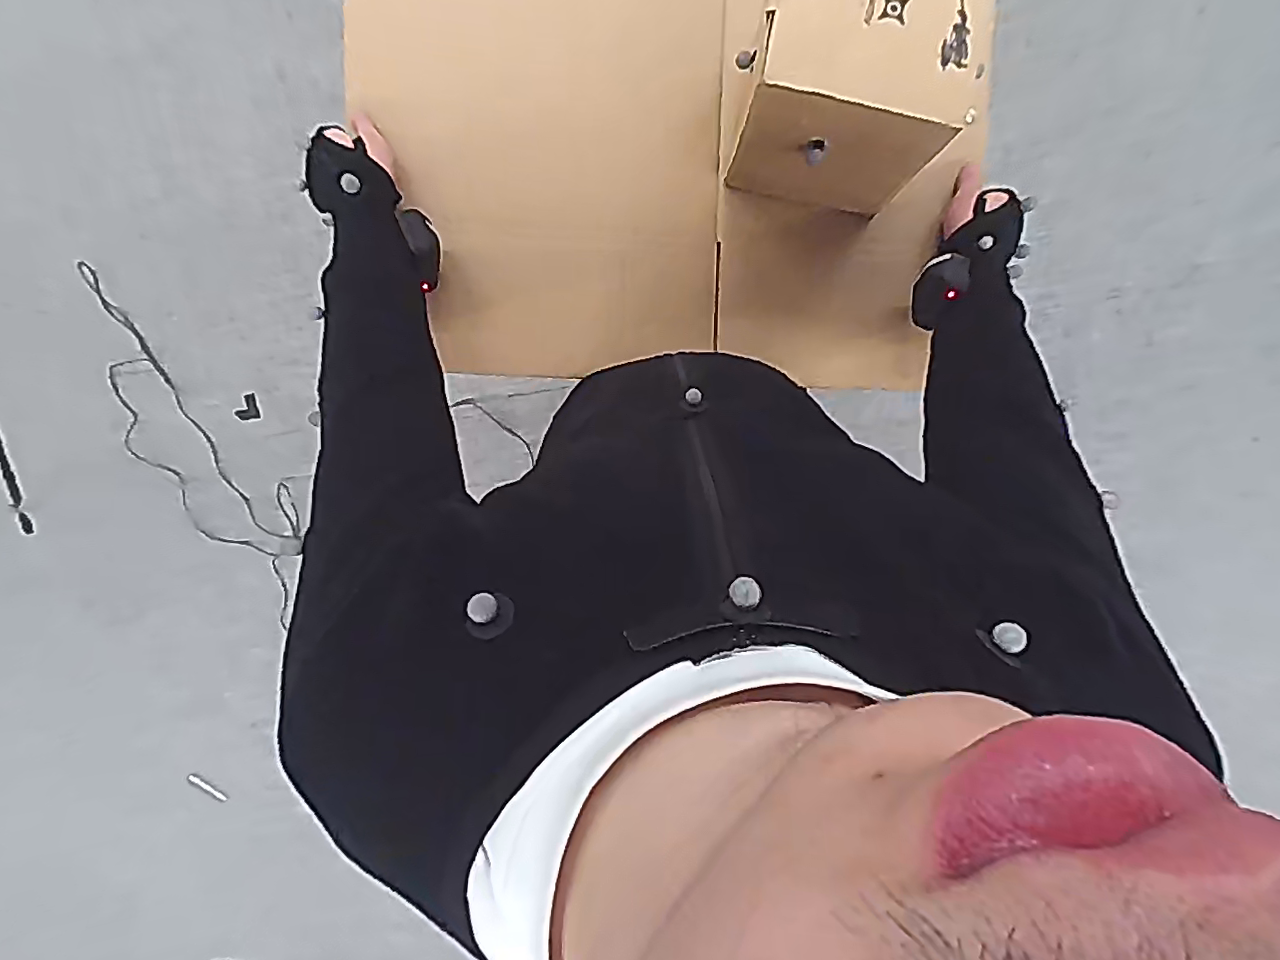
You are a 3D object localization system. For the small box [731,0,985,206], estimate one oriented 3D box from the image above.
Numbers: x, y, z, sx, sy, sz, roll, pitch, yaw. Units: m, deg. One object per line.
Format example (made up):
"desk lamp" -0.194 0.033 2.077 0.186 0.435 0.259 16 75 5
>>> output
"small box" 0.197 -0.395 0.527 0.179 0.176 0.168 11 93 -1
